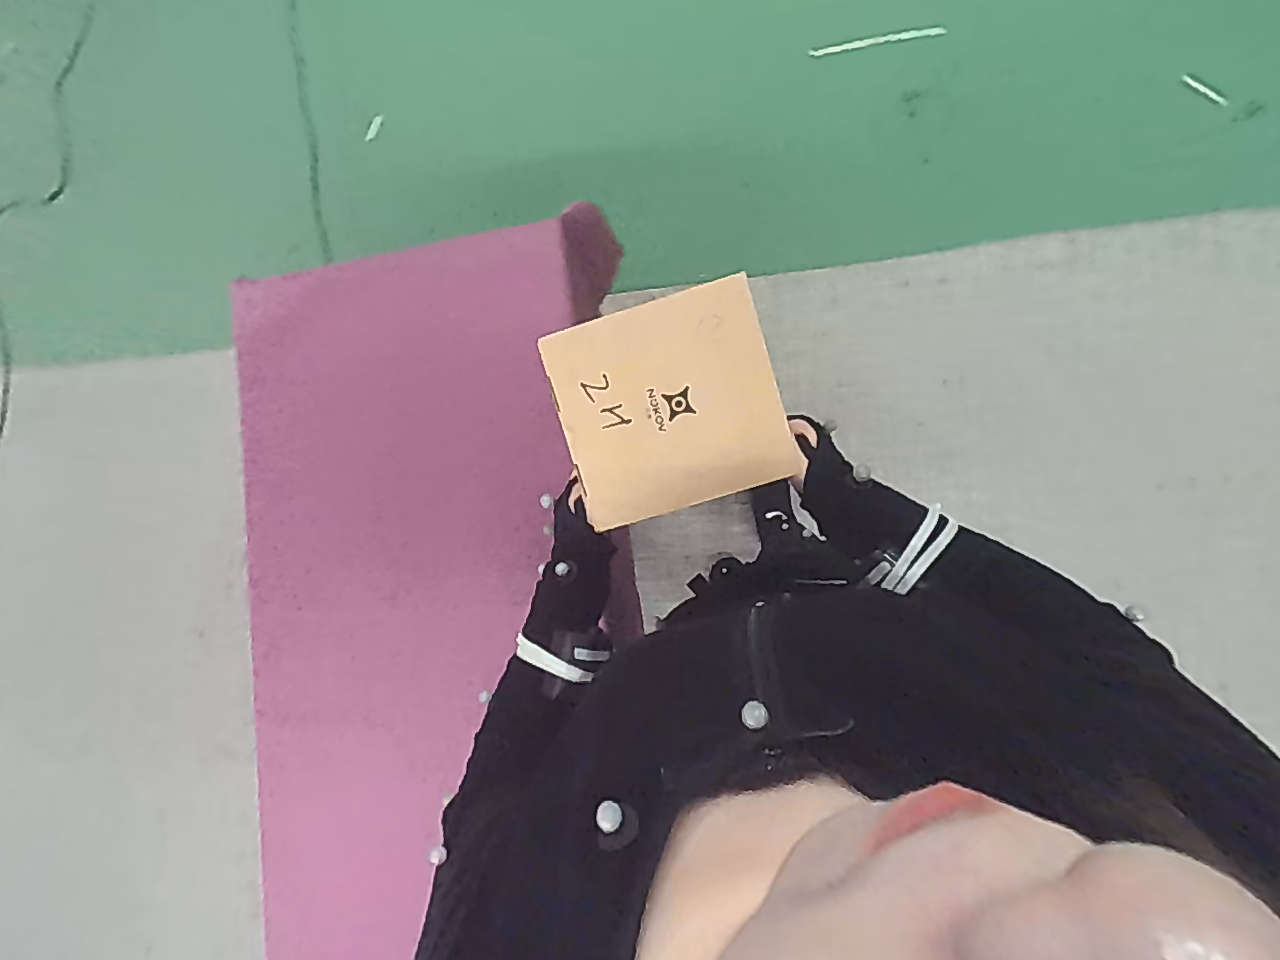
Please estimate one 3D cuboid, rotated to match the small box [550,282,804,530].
[{"bbox_3d":[0.034,-0.064,0.517,0.179,0.176,0.168,-16,92,6],"label":"small box"}]
